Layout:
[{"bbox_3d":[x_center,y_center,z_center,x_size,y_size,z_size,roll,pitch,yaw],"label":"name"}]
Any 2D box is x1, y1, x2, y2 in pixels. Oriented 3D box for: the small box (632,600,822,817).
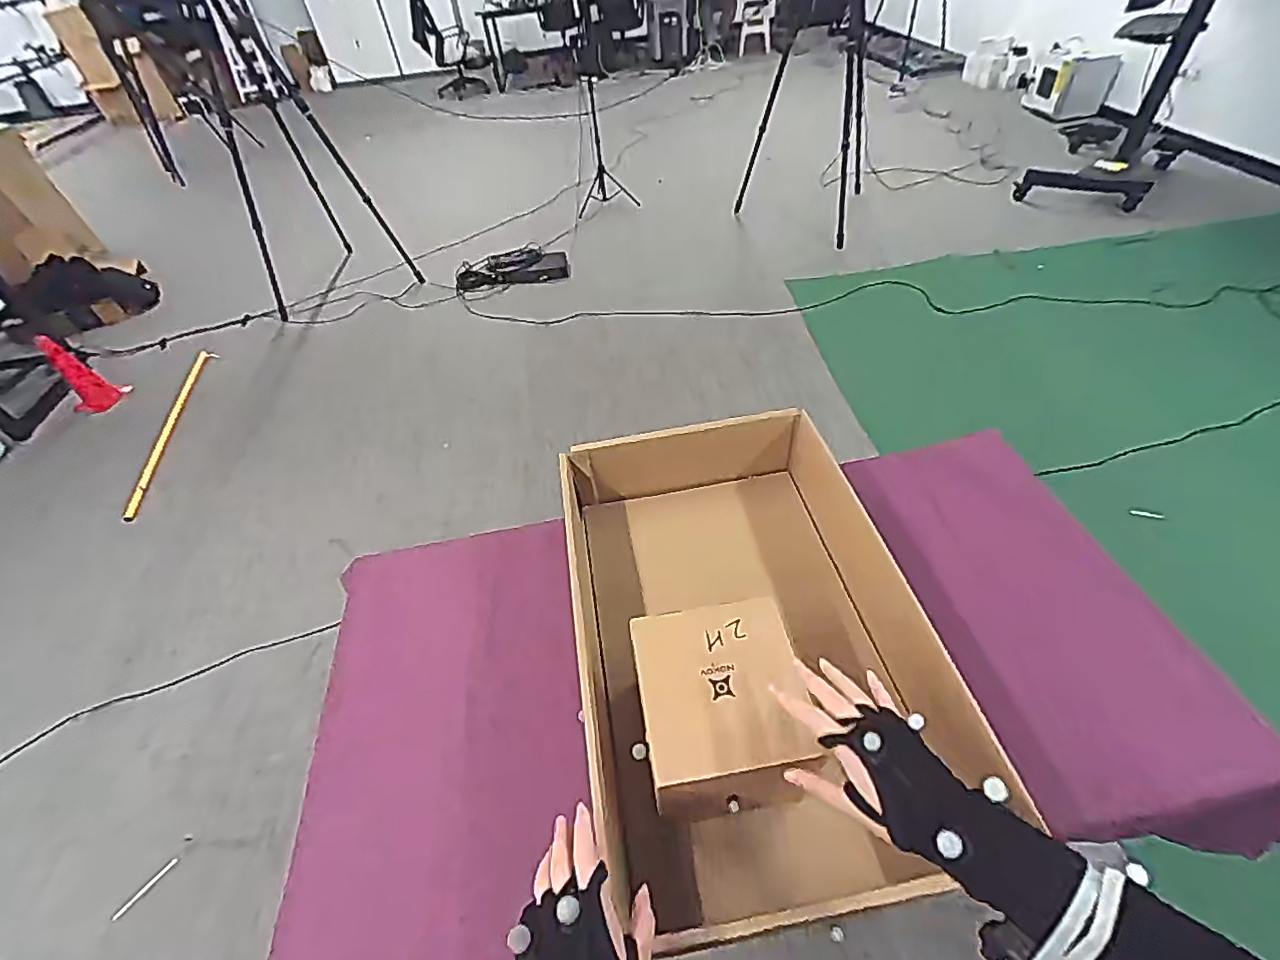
[{"bbox_3d":[0.089,0.266,0.619,0.168,0.176,0.179,-9,47,-2],"label":"small box"}]
